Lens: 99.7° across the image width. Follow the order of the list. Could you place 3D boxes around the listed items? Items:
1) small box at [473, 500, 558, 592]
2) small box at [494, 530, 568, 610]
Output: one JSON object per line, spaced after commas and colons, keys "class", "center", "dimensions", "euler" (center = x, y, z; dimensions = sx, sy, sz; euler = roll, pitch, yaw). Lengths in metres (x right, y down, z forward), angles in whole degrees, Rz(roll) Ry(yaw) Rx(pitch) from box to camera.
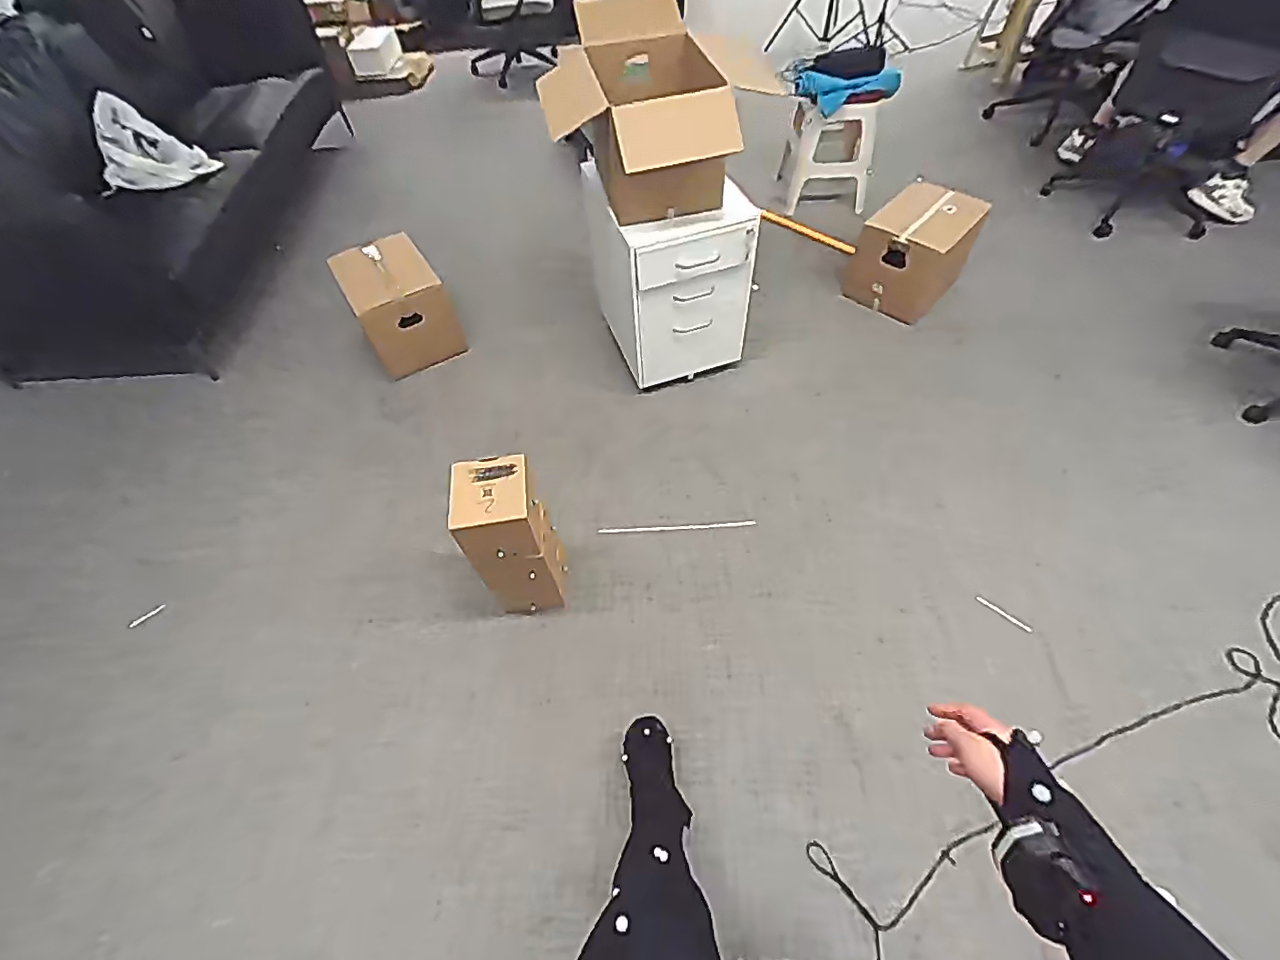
{"class": "small box", "center": [-0.307, 0.171, 1.373], "dimensions": [0.179, 0.176, 0.168], "euler": [-7, 54, 1]}
{"class": "small box", "center": [-0.299, 0.254, 1.513], "dimensions": [0.179, 0.176, 0.168], "euler": [-4, 55, 1]}
